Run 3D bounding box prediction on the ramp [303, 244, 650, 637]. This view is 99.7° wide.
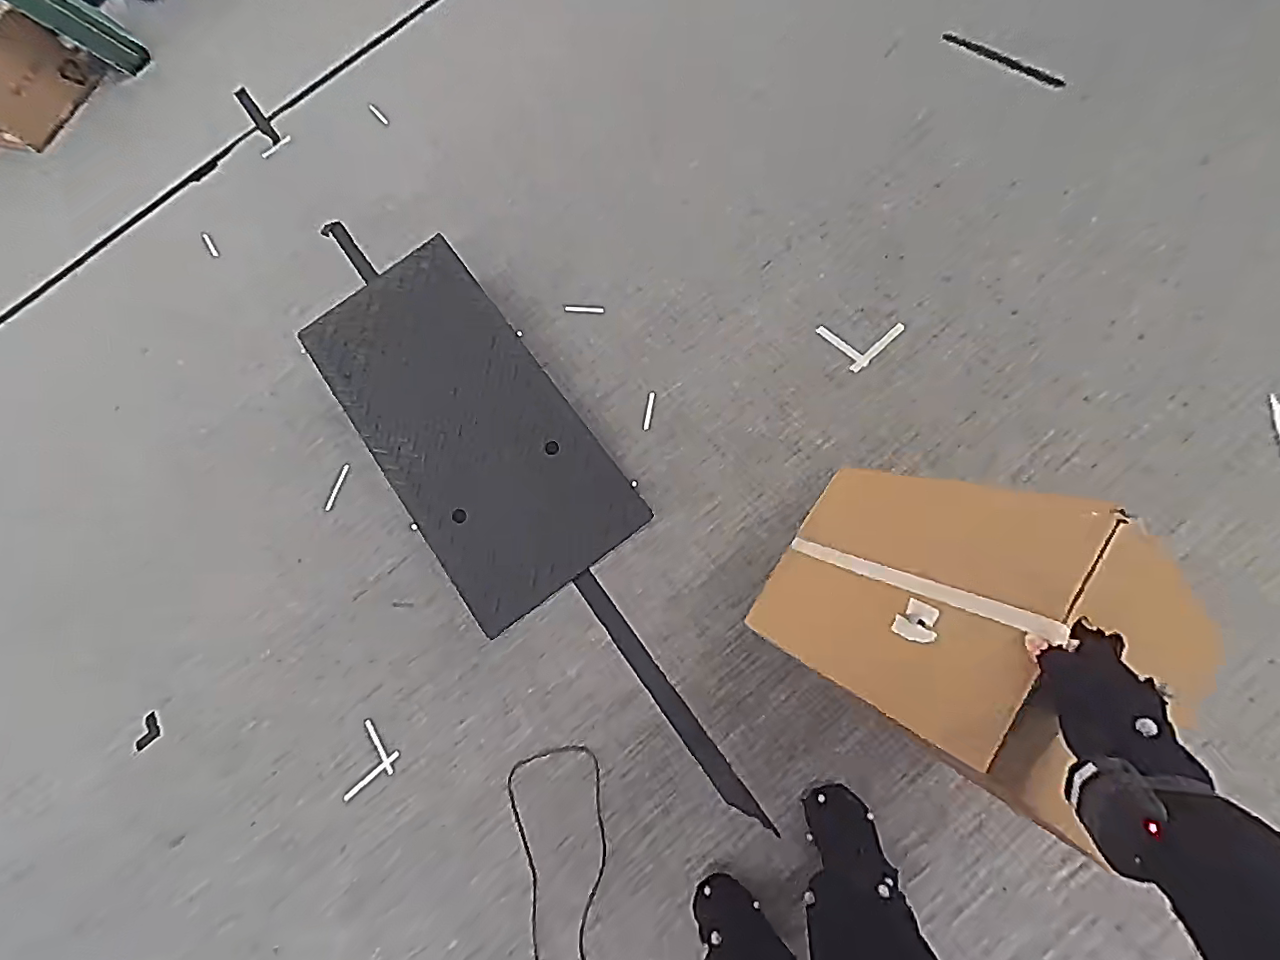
[{"bbox_3d":[-0.454,-0.145,1.417,0.509,0.206,0.991,-38,67,-4],"label":"ramp"}]

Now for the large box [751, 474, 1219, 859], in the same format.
[{"bbox_3d":[0.445,0.215,0.761,0.320,0.408,0.320,36,81,-23],"label":"large box"}]
